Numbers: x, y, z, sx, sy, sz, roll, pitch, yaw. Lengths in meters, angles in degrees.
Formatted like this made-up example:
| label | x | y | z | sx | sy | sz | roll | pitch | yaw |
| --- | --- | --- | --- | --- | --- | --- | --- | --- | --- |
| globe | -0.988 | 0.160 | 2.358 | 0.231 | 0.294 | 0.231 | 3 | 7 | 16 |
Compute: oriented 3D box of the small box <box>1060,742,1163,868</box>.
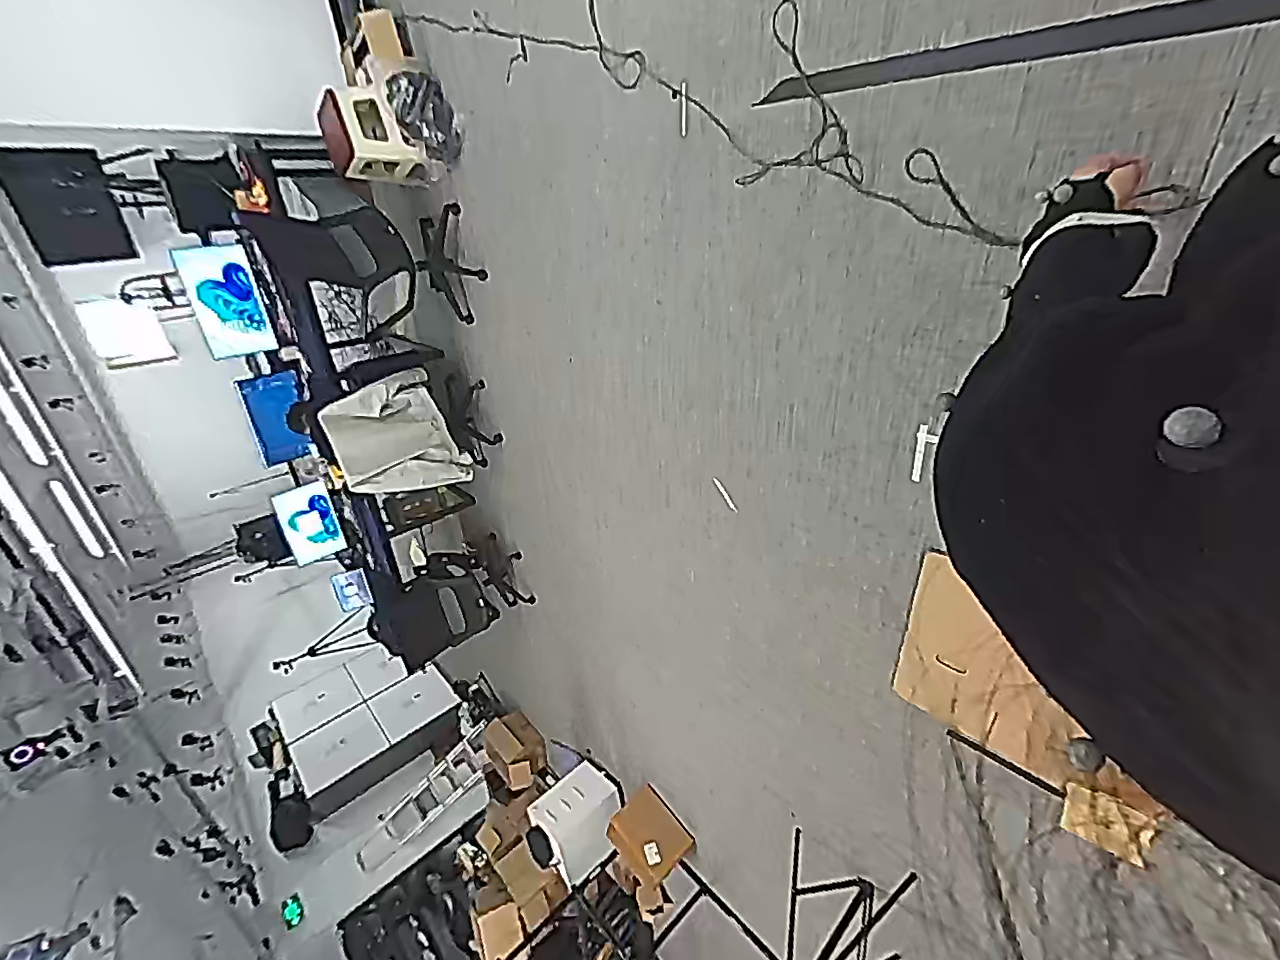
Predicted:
| label | x | y | z | sx | sy | sz | roll | pitch | yaw |
| --- | --- | --- | --- | --- | --- | --- | --- | --- | --- |
| small box | 1.202 | 0.818 | 1.379 | 0.168 | 0.176 | 0.179 | 12 | 120 | 46 |
